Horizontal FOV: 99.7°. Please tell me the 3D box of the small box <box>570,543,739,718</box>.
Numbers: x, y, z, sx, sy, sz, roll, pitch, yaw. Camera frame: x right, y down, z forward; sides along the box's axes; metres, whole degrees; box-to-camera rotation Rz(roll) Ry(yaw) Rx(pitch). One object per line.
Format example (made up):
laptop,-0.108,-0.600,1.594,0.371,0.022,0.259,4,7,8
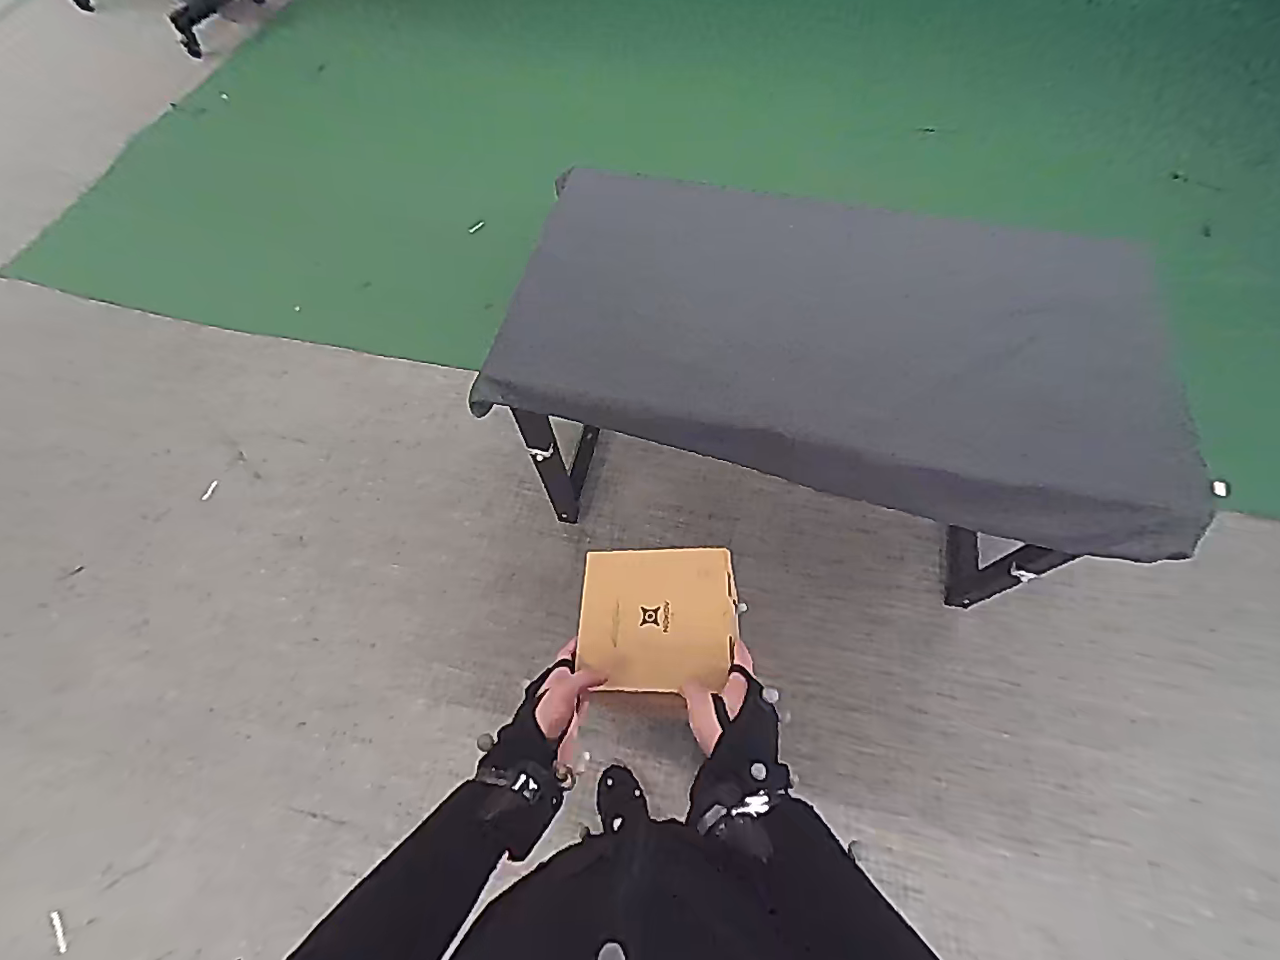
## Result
small box,0.032,0.188,0.666,0.179,0.176,0.168,-2,56,12
